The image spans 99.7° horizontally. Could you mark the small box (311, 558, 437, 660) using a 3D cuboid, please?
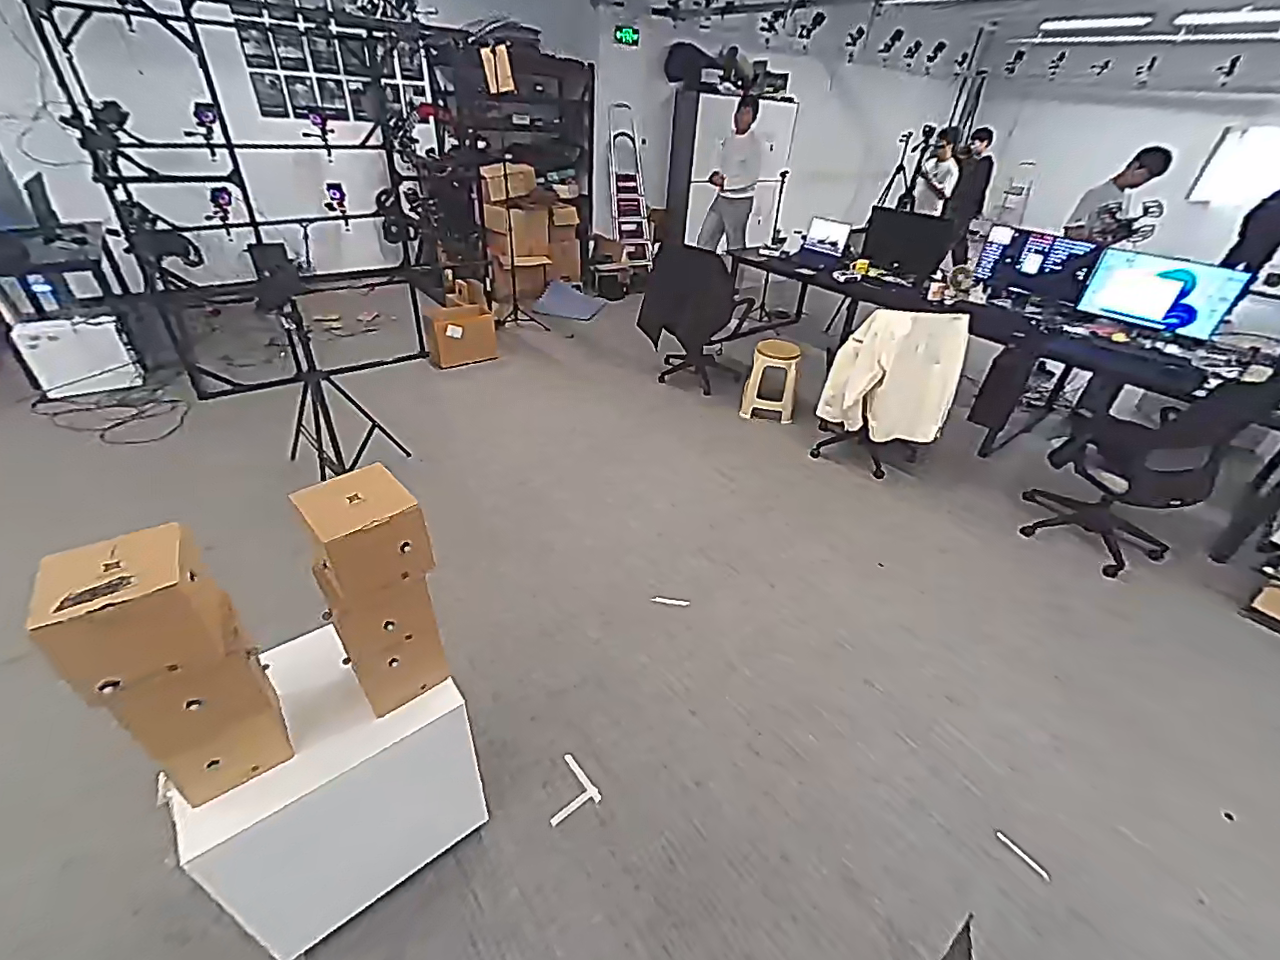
[{"bbox_3d":[-0.530,0.235,1.092,0.168,0.176,0.179,-24,43,-33],"label":"small box"}]

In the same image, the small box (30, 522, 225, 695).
[{"bbox_3d":[-0.770,0.201,0.835,0.168,0.176,0.179,-20,40,-30],"label":"small box"}]

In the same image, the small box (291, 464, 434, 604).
[{"bbox_3d":[-0.503,0.103,0.999,0.179,0.176,0.168,31,43,34],"label":"small box"}]

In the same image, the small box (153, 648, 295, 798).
[{"bbox_3d":[-0.786,0.466,1.030,0.168,0.176,0.179,-22,42,-33],"label":"small box"}]

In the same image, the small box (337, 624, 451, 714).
[{"bbox_3d":[-0.538,0.370,1.187,0.168,0.176,0.179,-26,44,-33],"label":"small box"}]
